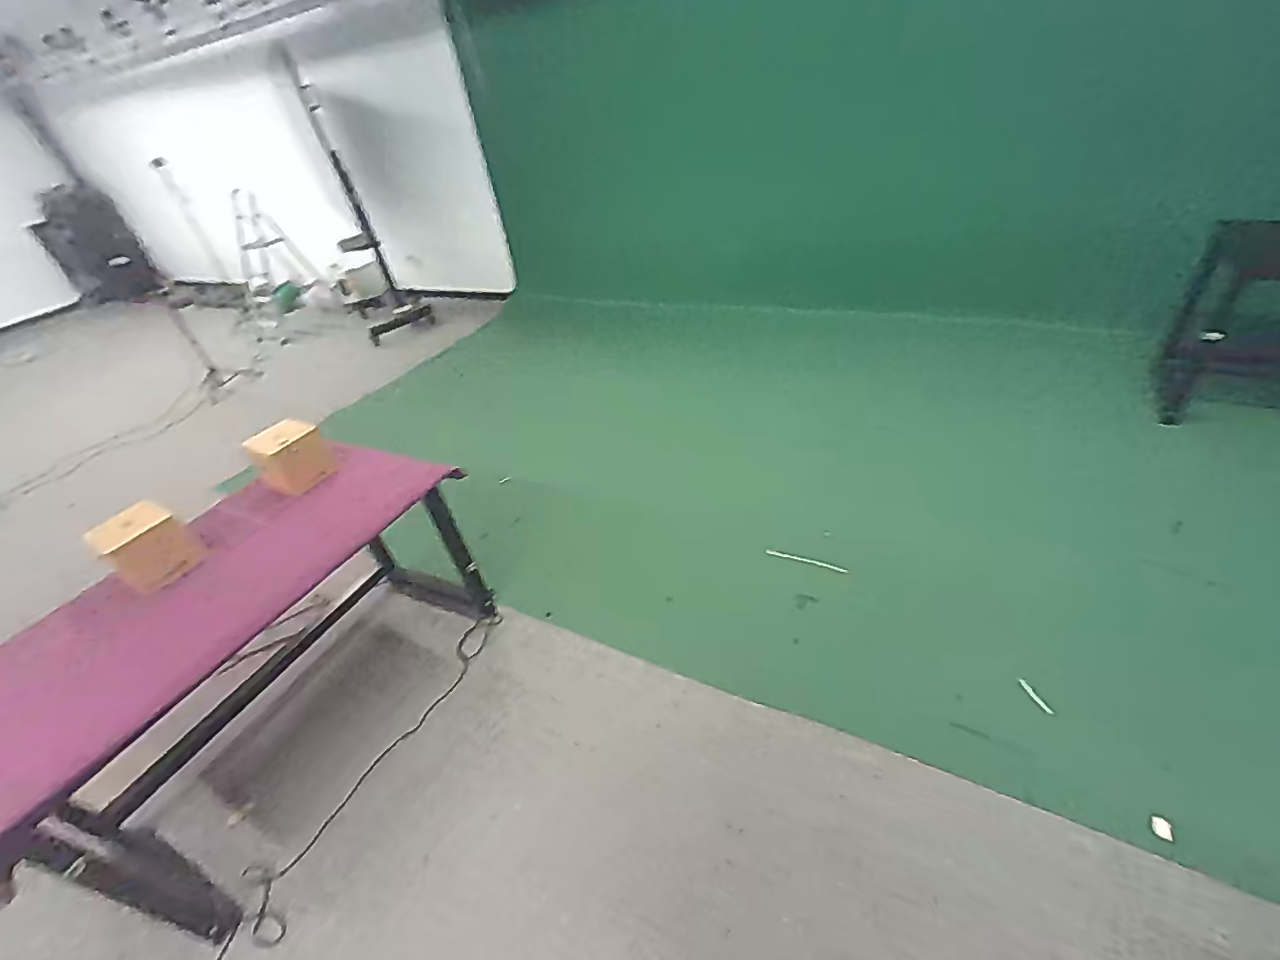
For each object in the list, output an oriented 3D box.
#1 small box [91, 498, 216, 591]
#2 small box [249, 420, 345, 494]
[{"bbox_3d":[-1.337,0.180,1.495,0.179,0.176,0.168,15,44,28],"label":"small box"},{"bbox_3d":[-1.119,-0.075,1.775,0.179,0.176,0.168,13,44,28],"label":"small box"}]
